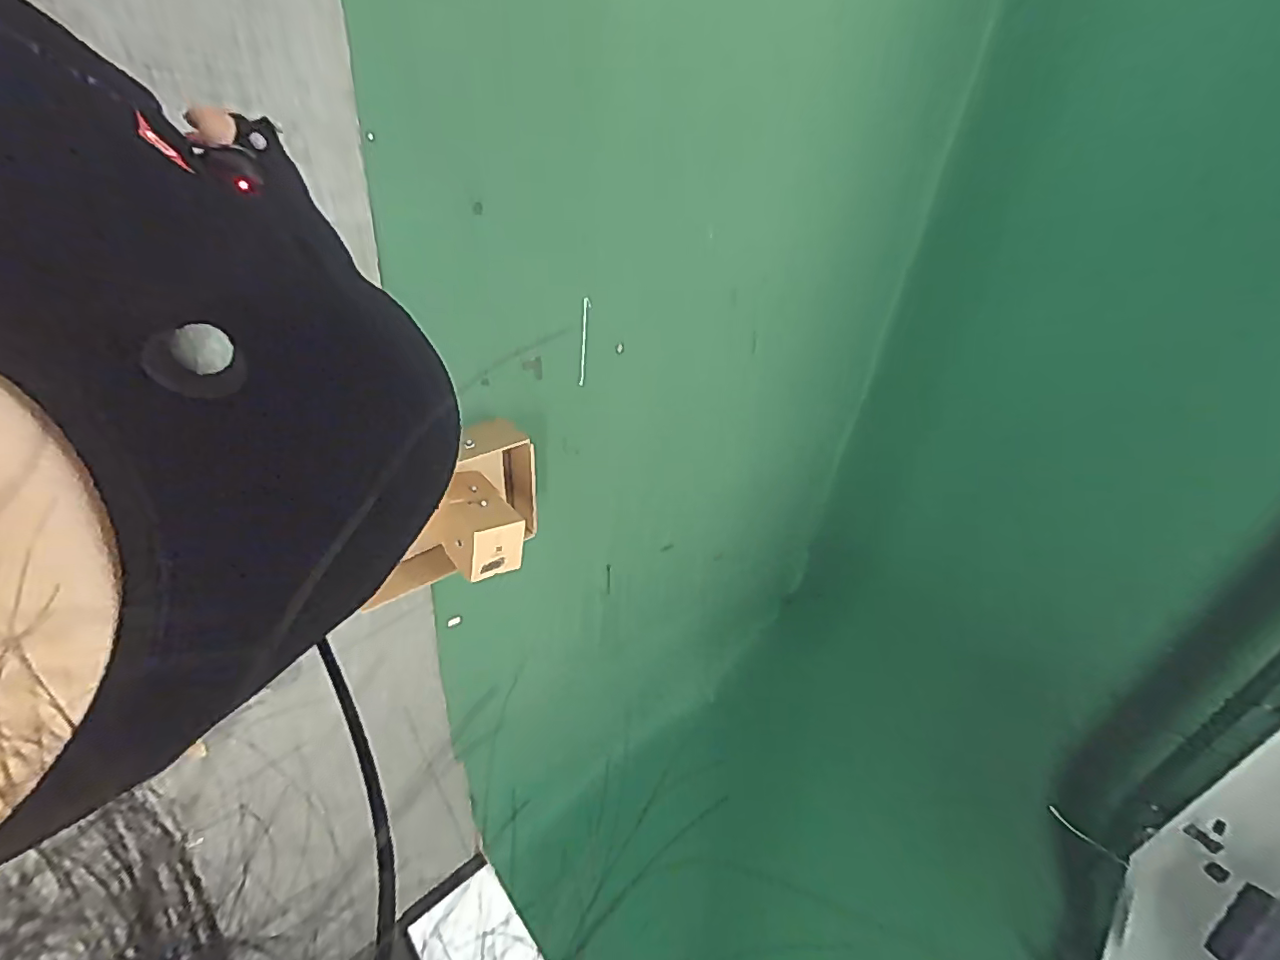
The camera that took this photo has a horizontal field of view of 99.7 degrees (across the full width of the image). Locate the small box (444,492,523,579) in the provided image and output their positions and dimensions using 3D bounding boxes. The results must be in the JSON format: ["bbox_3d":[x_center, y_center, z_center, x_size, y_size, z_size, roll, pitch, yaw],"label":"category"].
[{"bbox_3d":[-0.471,0.160,1.613,0.168,0.176,0.179,-13,126,-42],"label":"small box"}]

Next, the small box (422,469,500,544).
[{"bbox_3d":[-0.572,0.077,1.714,0.179,0.176,0.168,-9,125,-43],"label":"small box"}]

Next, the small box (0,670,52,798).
[{"bbox_3d":[-1.261,0.496,1.015,0.179,0.176,0.168,-20,129,-38],"label":"small box"}]
